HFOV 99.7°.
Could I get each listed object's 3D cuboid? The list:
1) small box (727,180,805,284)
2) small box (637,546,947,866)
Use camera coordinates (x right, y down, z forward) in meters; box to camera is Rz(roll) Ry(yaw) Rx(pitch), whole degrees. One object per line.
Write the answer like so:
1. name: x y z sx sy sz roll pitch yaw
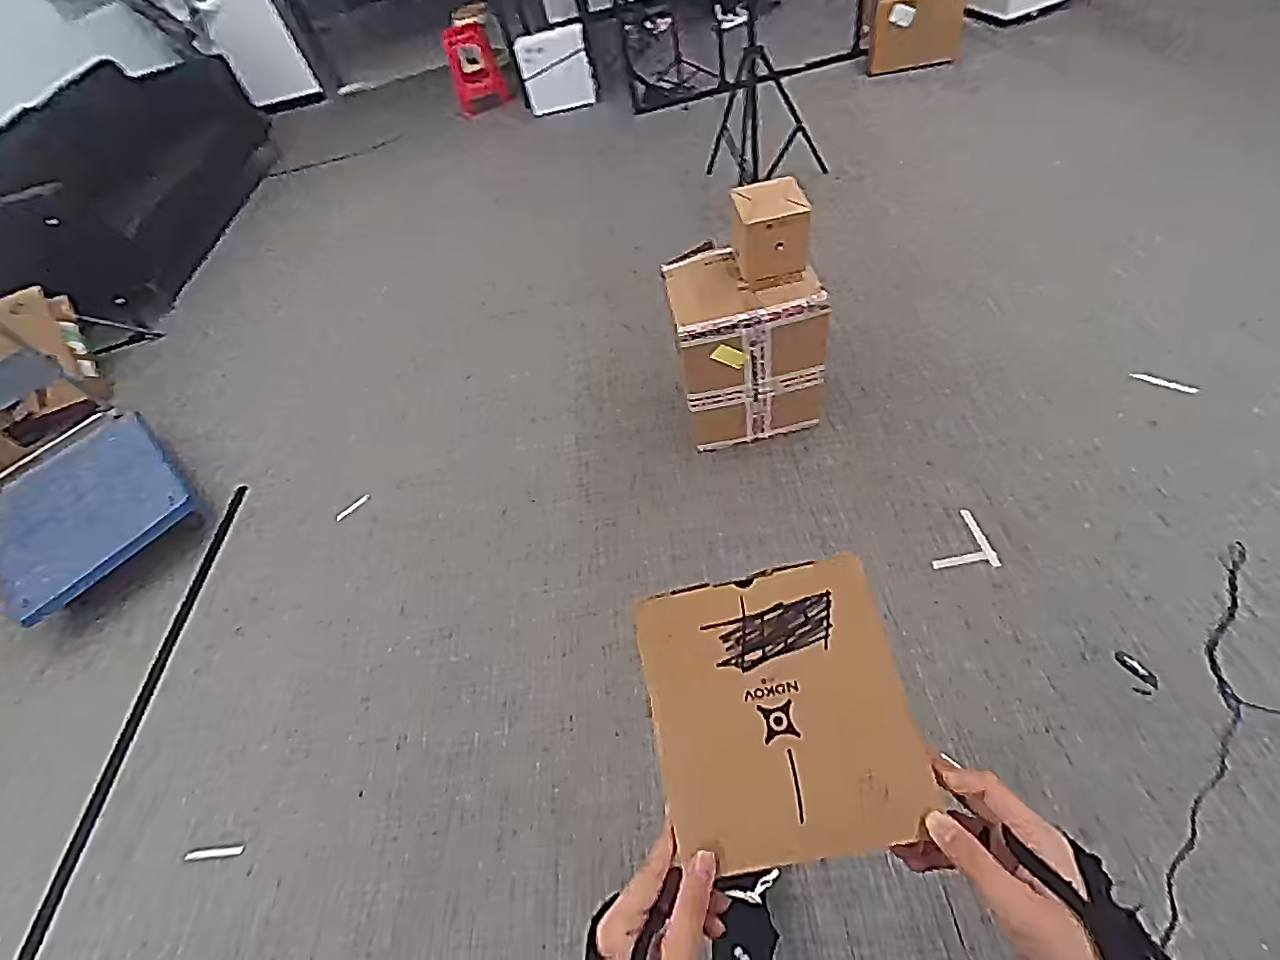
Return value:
1. small box: 0.327 -0.652 1.421 0.168 0.176 0.179 -11 54 2
2. small box: 0.101 0.169 0.431 0.168 0.176 0.179 -13 70 5
